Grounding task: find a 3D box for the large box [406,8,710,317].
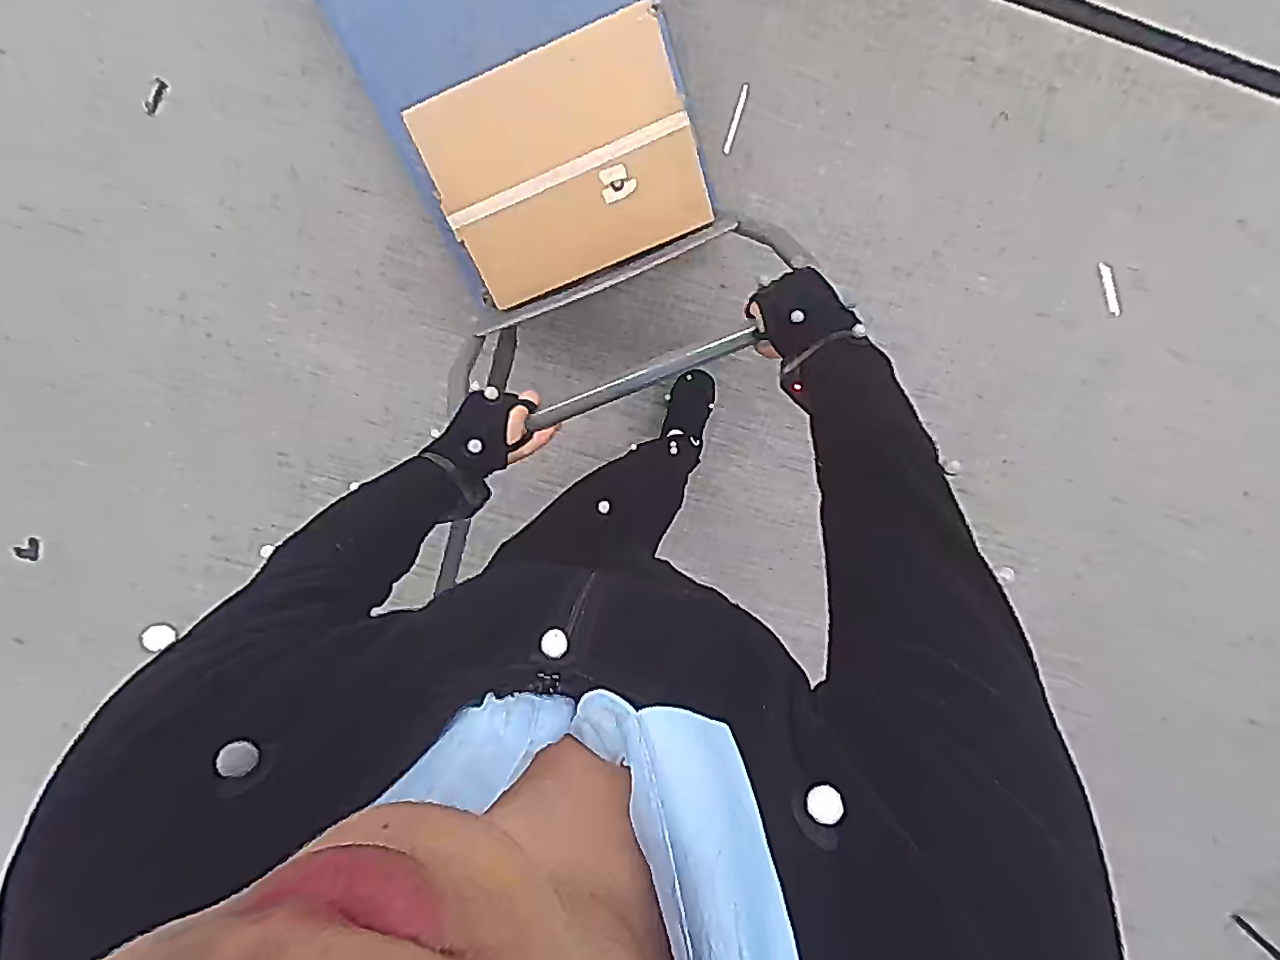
[{"bbox_3d":[-0.135,-0.547,0.994,0.408,0.320,0.320,-22,118,4],"label":"large box"}]
